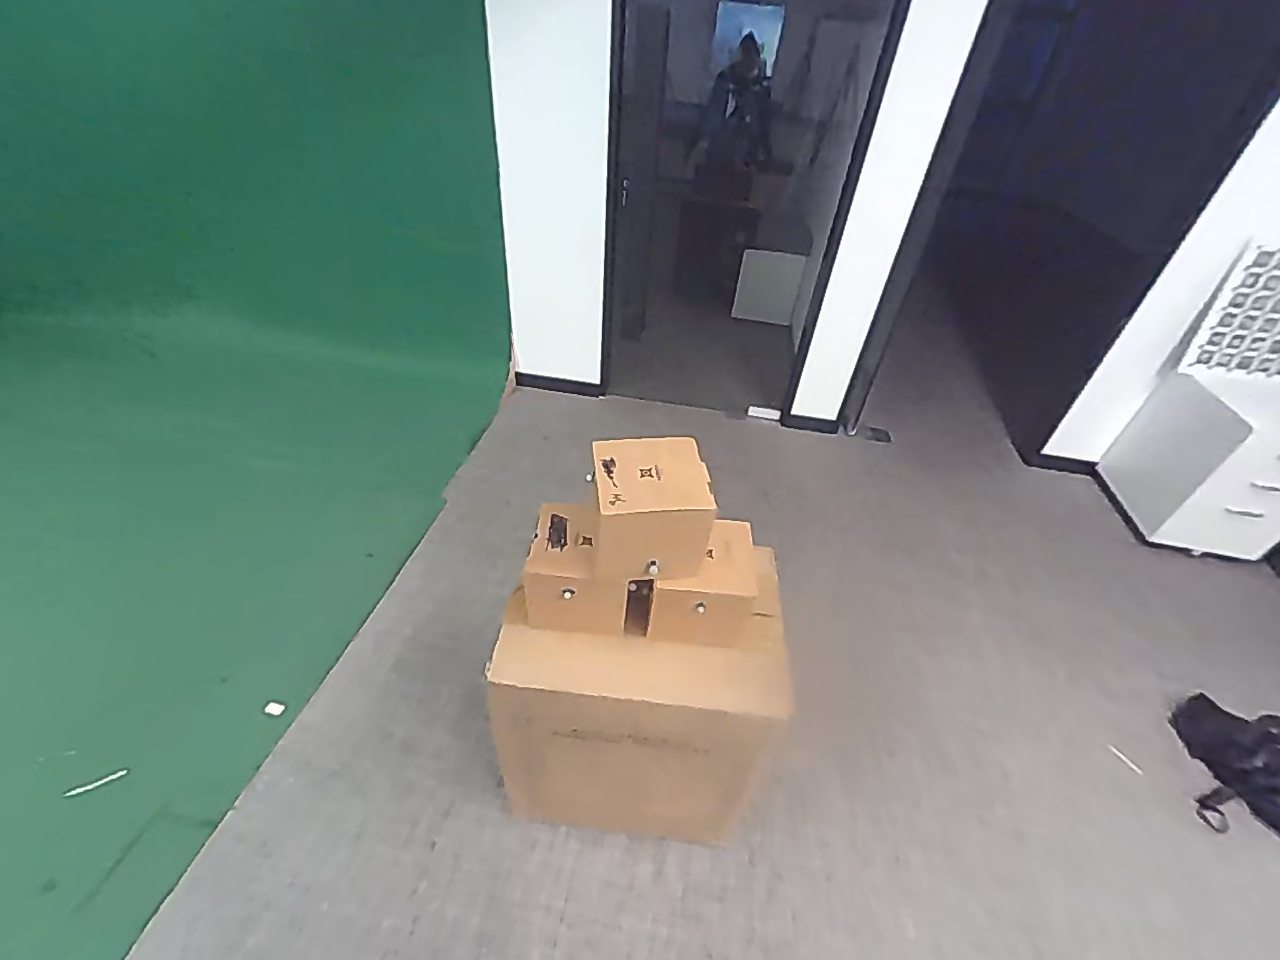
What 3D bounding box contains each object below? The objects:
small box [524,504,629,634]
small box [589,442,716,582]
[{"bbox_3d":[-0.108,0.168,1.006,0.179,0.176,0.168,6,43,-1],"label":"small box"},{"bbox_3d":[0.010,0.054,0.901,0.179,0.176,0.168,-1,44,-10],"label":"small box"}]
